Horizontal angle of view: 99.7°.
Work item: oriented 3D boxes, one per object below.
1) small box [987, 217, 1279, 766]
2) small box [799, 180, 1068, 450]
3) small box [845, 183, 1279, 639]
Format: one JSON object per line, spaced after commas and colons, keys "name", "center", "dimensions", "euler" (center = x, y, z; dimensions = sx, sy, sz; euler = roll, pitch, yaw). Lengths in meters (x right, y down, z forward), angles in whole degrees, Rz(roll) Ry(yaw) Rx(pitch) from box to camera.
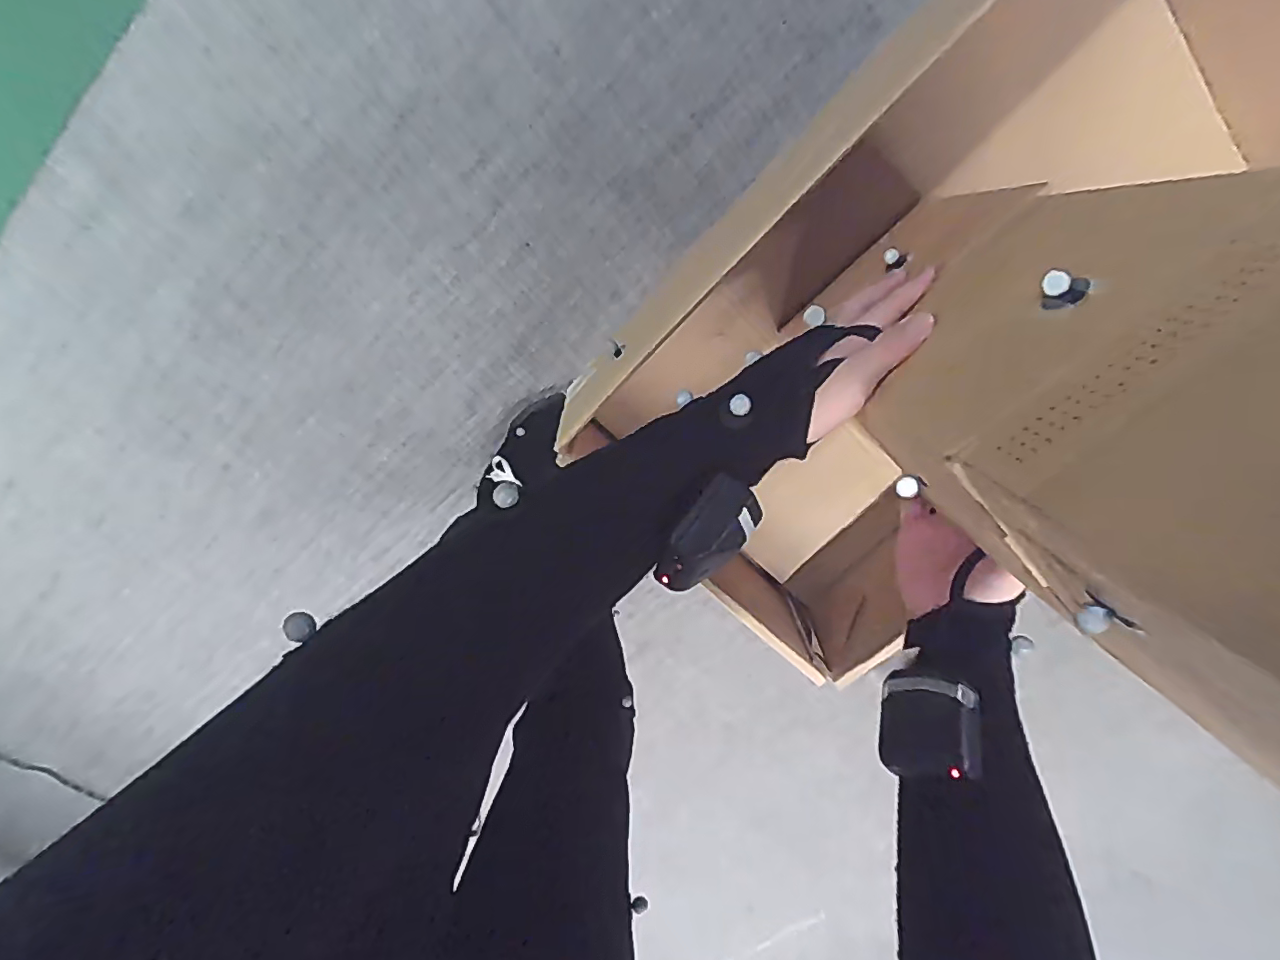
{"name": "small box", "center": [0.273, 0.012, 0.180], "dimensions": [0.168, 0.176, 0.179], "euler": [42, 106, -19]}
{"name": "small box", "center": [0.263, -0.124, 0.477], "dimensions": [0.179, 0.176, 0.168], "euler": [-42, 110, 14]}
{"name": "small box", "center": [0.264, -0.050, 0.329], "dimensions": [0.179, 0.176, 0.168], "euler": [-43, 109, 15]}
